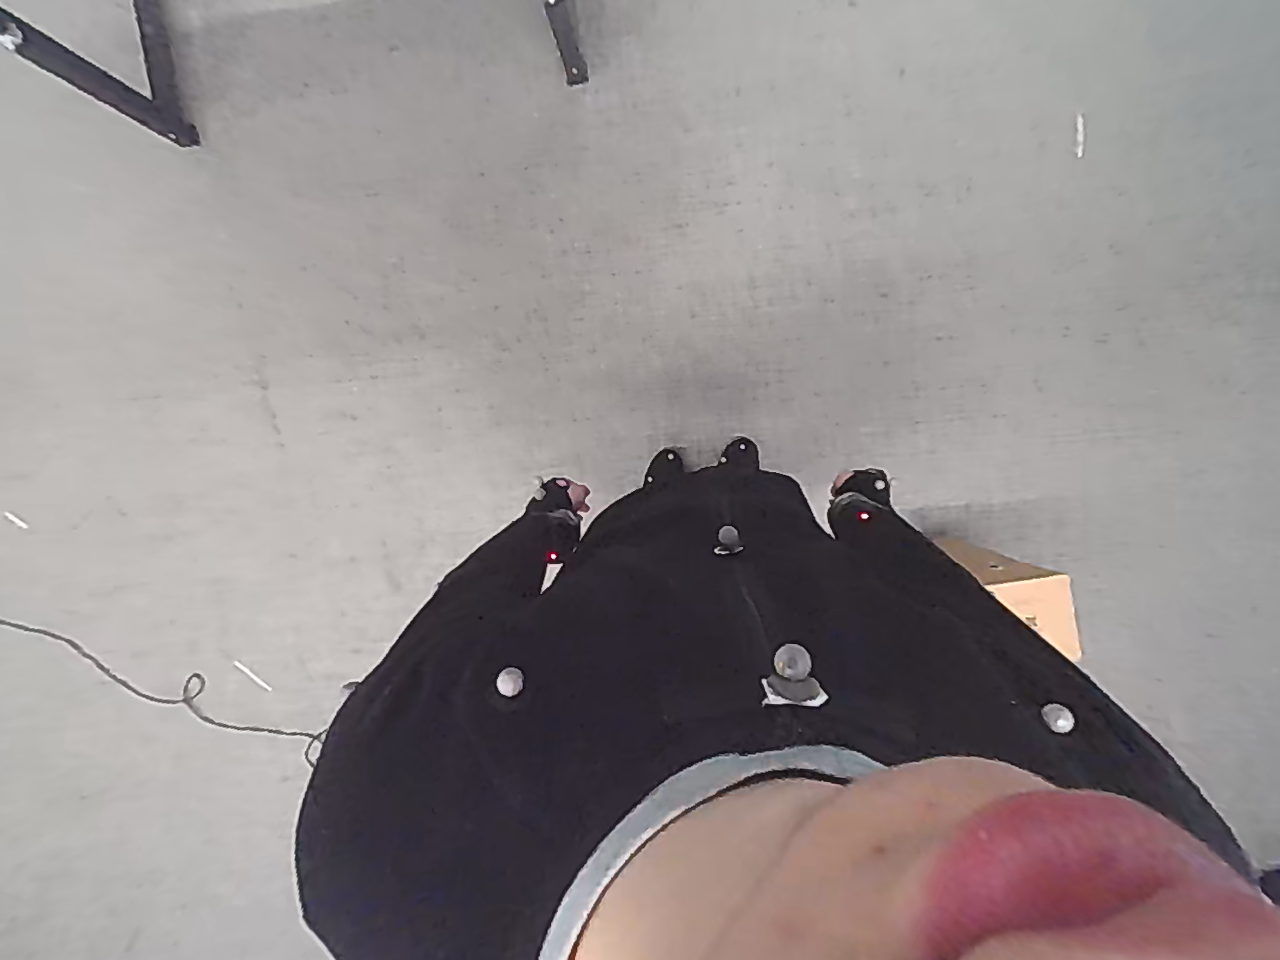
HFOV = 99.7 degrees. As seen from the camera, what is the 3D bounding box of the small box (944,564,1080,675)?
[{"bbox_3d":[0.773,0.287,1.140,0.168,0.176,0.179,-10,90,4],"label":"small box"}]
